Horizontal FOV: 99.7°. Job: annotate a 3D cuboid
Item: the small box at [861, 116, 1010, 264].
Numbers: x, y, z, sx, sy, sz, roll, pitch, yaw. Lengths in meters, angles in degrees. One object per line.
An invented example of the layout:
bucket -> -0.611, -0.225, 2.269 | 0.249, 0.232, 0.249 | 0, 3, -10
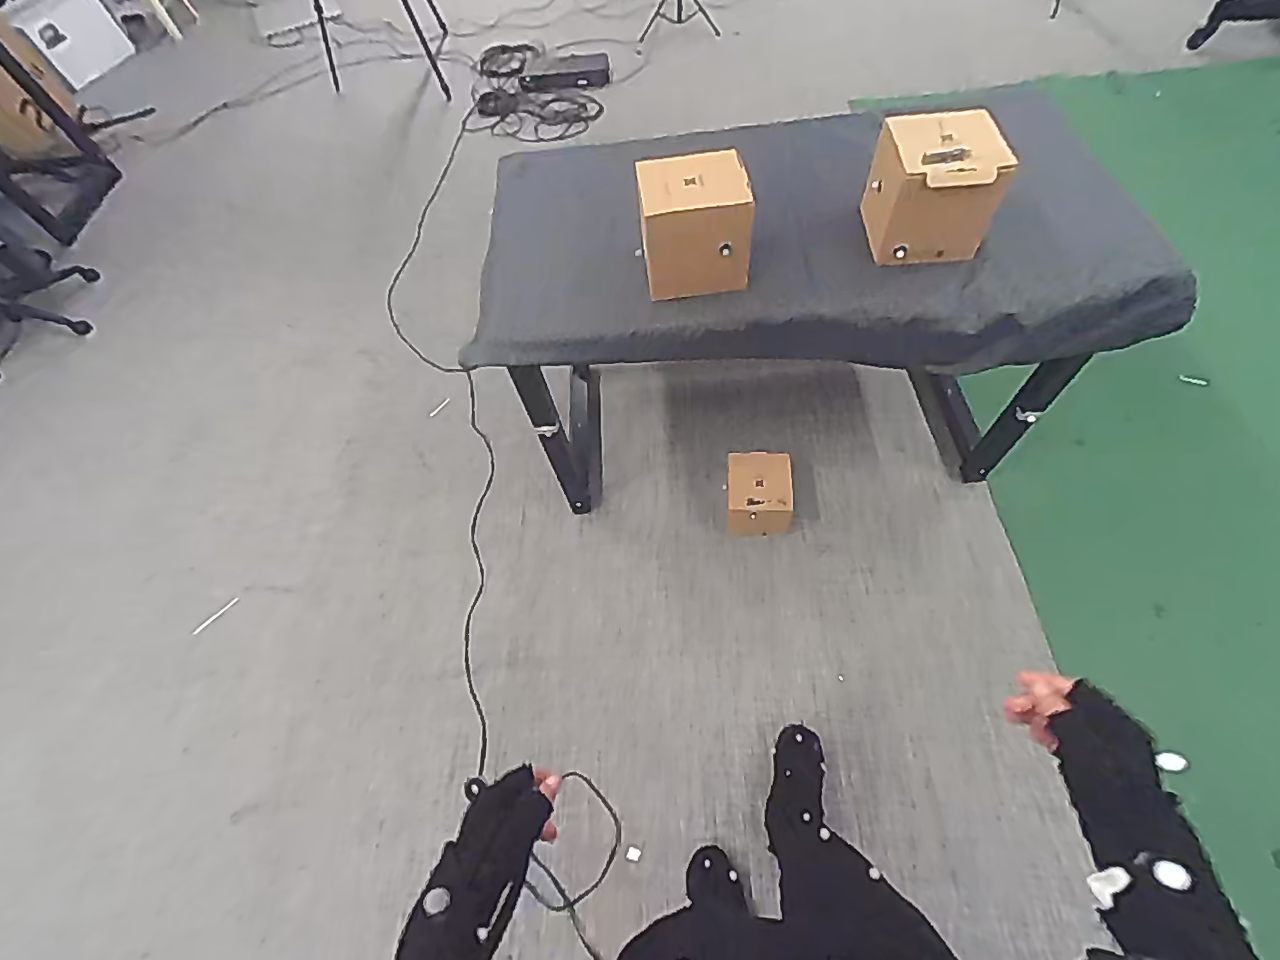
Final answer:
small box -> 0.499, -0.496, 0.944 | 0.168, 0.176, 0.179 | -1, 59, 6

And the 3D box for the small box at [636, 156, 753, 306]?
small box -> 0.092, -0.434, 0.955 | 0.179, 0.176, 0.168 | -8, 57, 2
